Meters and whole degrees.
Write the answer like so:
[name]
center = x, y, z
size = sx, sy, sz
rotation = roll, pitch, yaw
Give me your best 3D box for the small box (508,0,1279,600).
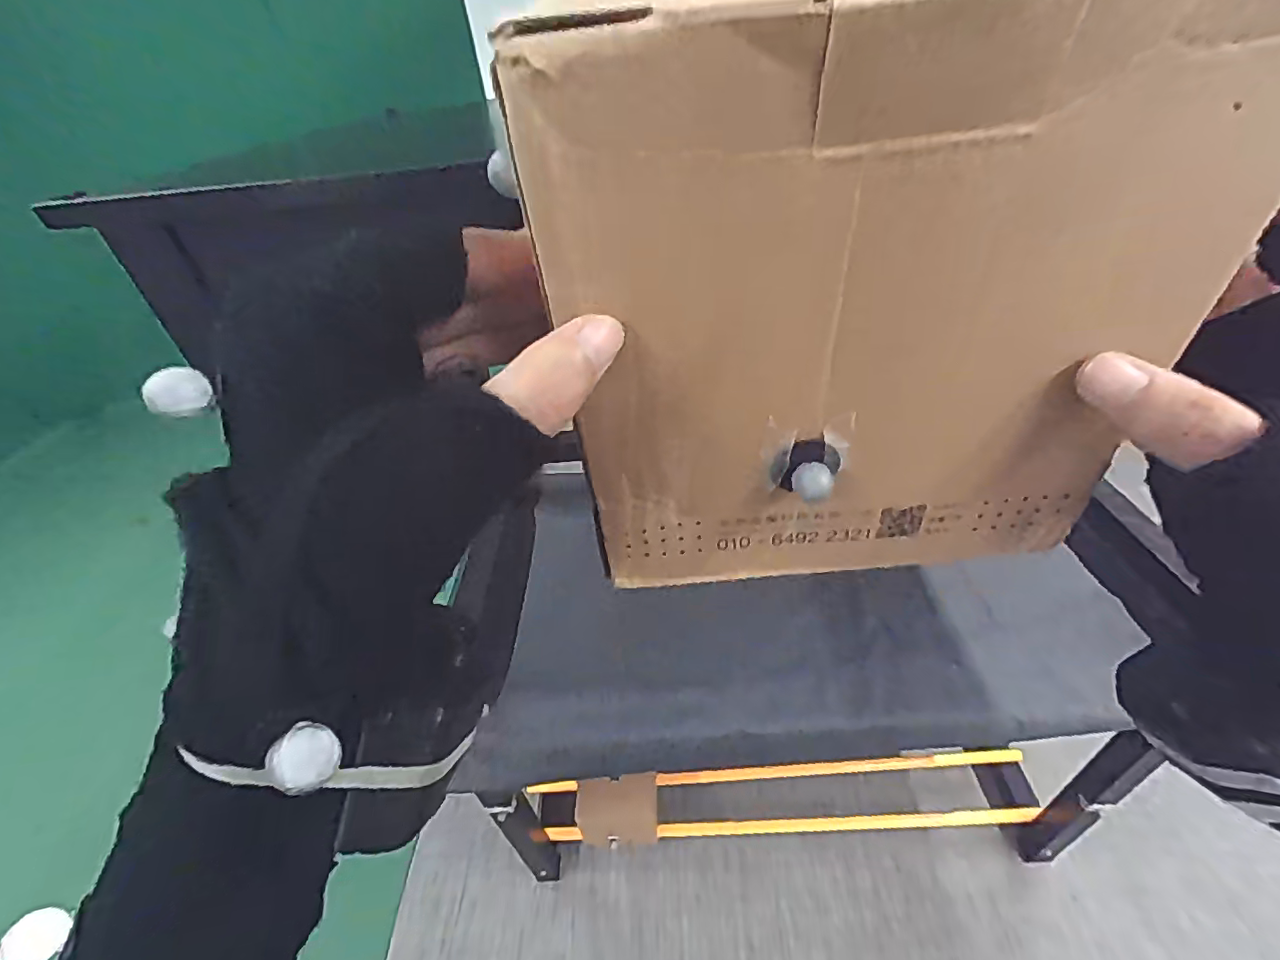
[small box]
center = 0.059, -0.074, 0.220
size = 0.168, 0.176, 0.179
rotation = -5, 44, 3
